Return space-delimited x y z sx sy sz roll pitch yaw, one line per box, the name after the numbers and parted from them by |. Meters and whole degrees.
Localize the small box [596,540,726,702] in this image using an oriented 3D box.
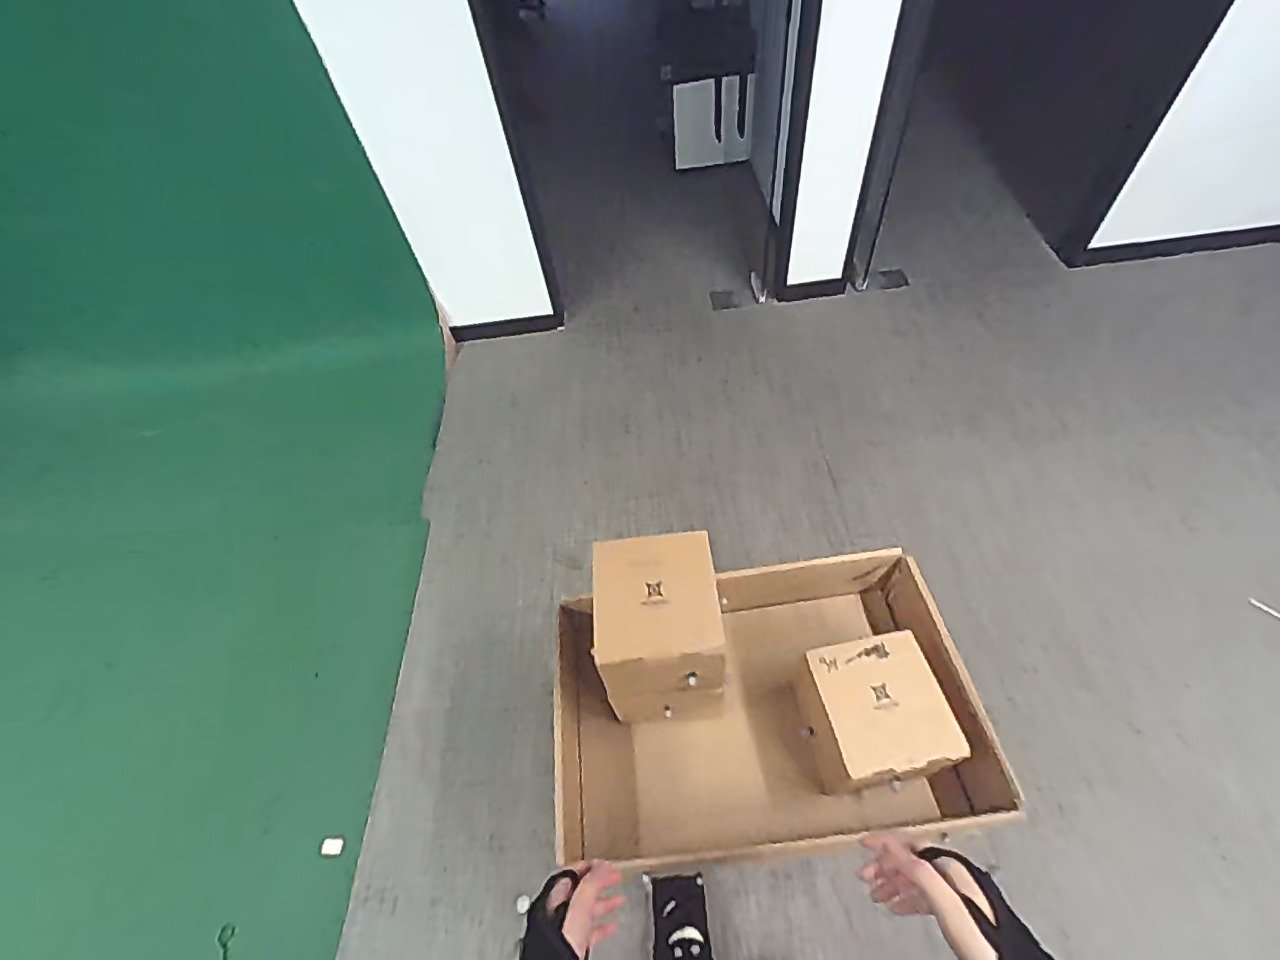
0.030 0.208 0.773 0.168 0.176 0.179 -5 52 2 | small box
